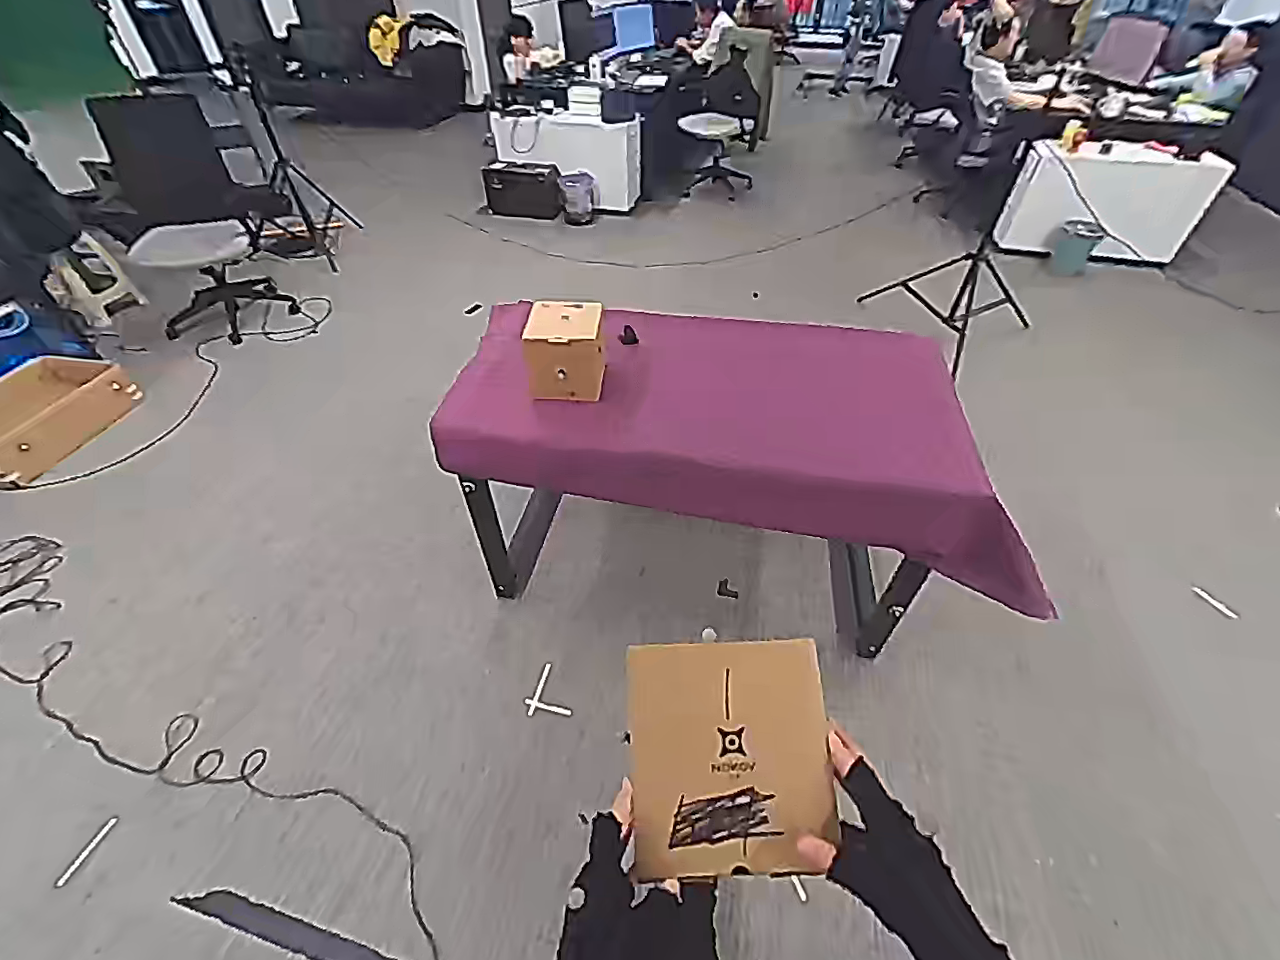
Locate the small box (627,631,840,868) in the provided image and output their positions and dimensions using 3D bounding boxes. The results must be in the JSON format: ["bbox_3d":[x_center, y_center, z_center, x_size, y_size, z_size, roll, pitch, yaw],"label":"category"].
[{"bbox_3d":[0.074,0.241,0.526,0.168,0.176,0.179,-3,73,-2],"label":"small box"}]

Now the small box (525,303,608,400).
[{"bbox_3d":[-0.167,-0.307,1.301,0.168,0.176,0.179,3,45,2],"label":"small box"}]
